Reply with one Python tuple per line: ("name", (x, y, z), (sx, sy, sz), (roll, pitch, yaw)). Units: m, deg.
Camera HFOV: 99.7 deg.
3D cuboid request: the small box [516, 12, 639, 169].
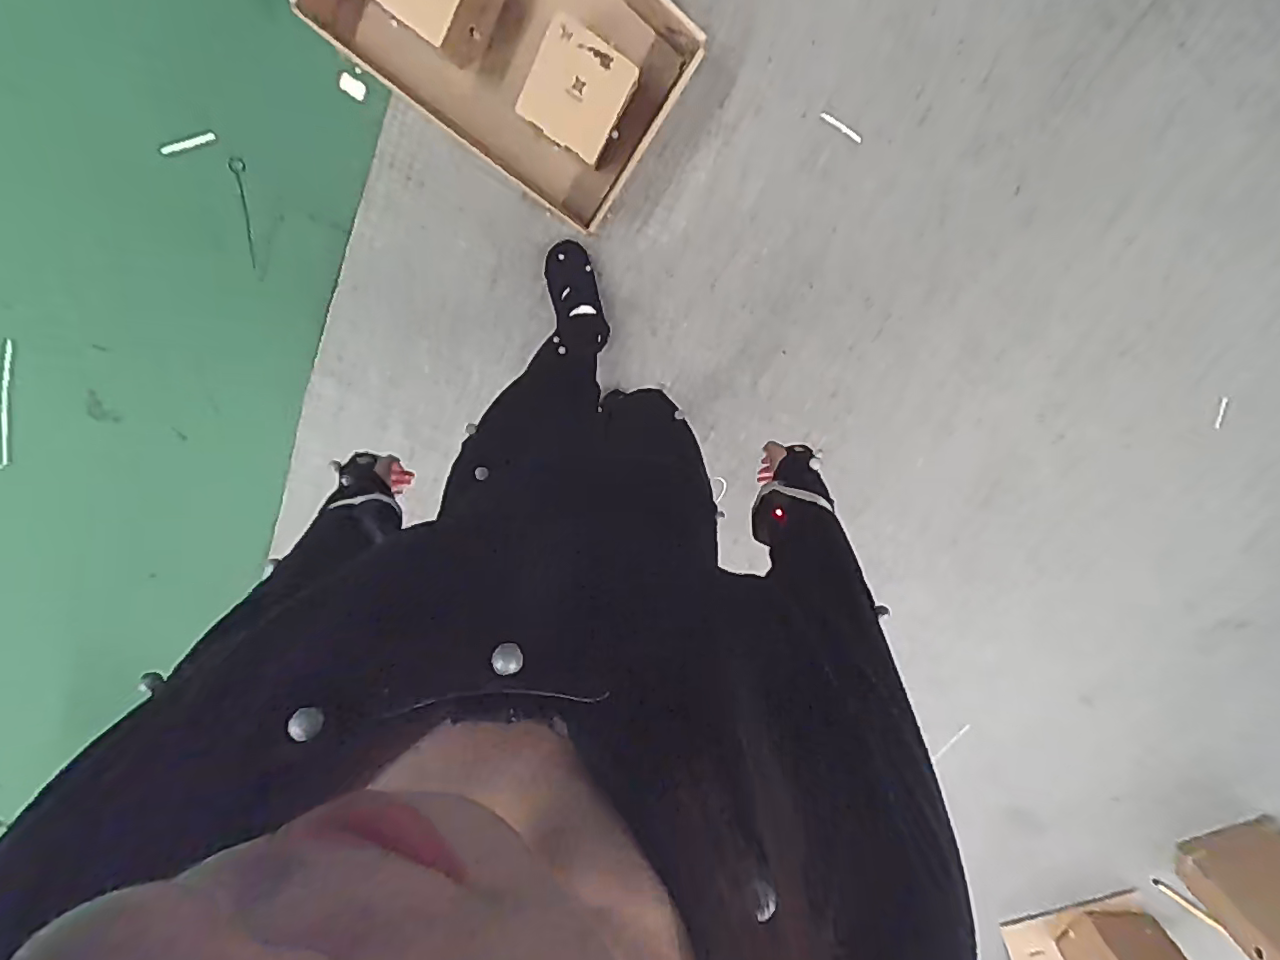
("small box", (-0.114, -0.725, 1.035), (0.168, 0.176, 0.179), (28, 112, -16))
